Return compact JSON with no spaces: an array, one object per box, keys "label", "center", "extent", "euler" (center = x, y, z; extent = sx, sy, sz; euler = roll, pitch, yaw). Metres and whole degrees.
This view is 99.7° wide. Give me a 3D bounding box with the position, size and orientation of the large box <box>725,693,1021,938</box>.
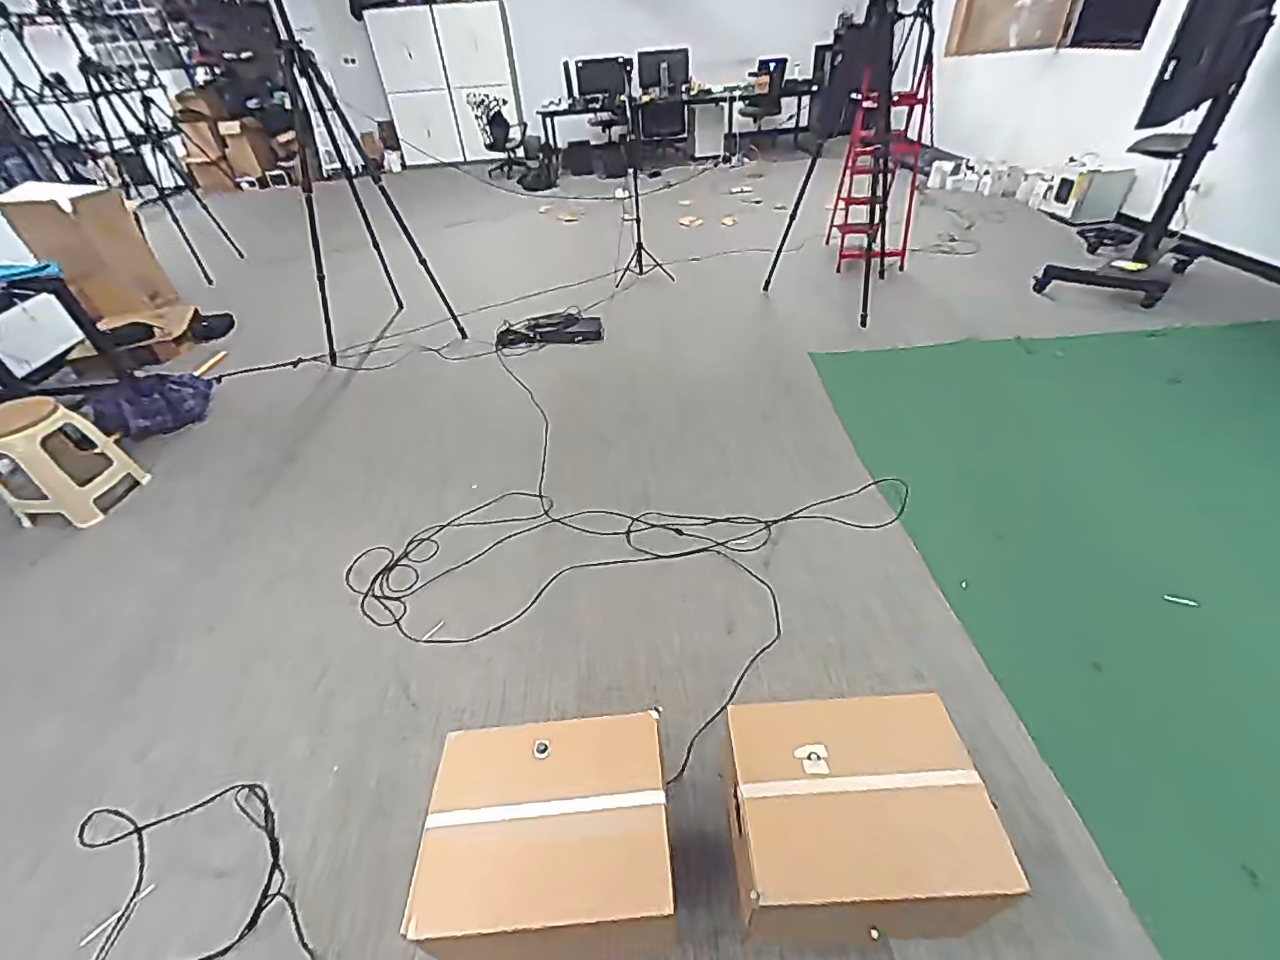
[{"label":"large box","center":[0.386,0.635,1.023],"extent":[0.408,0.320,0.320],"euler":[-4,40,2]}]
